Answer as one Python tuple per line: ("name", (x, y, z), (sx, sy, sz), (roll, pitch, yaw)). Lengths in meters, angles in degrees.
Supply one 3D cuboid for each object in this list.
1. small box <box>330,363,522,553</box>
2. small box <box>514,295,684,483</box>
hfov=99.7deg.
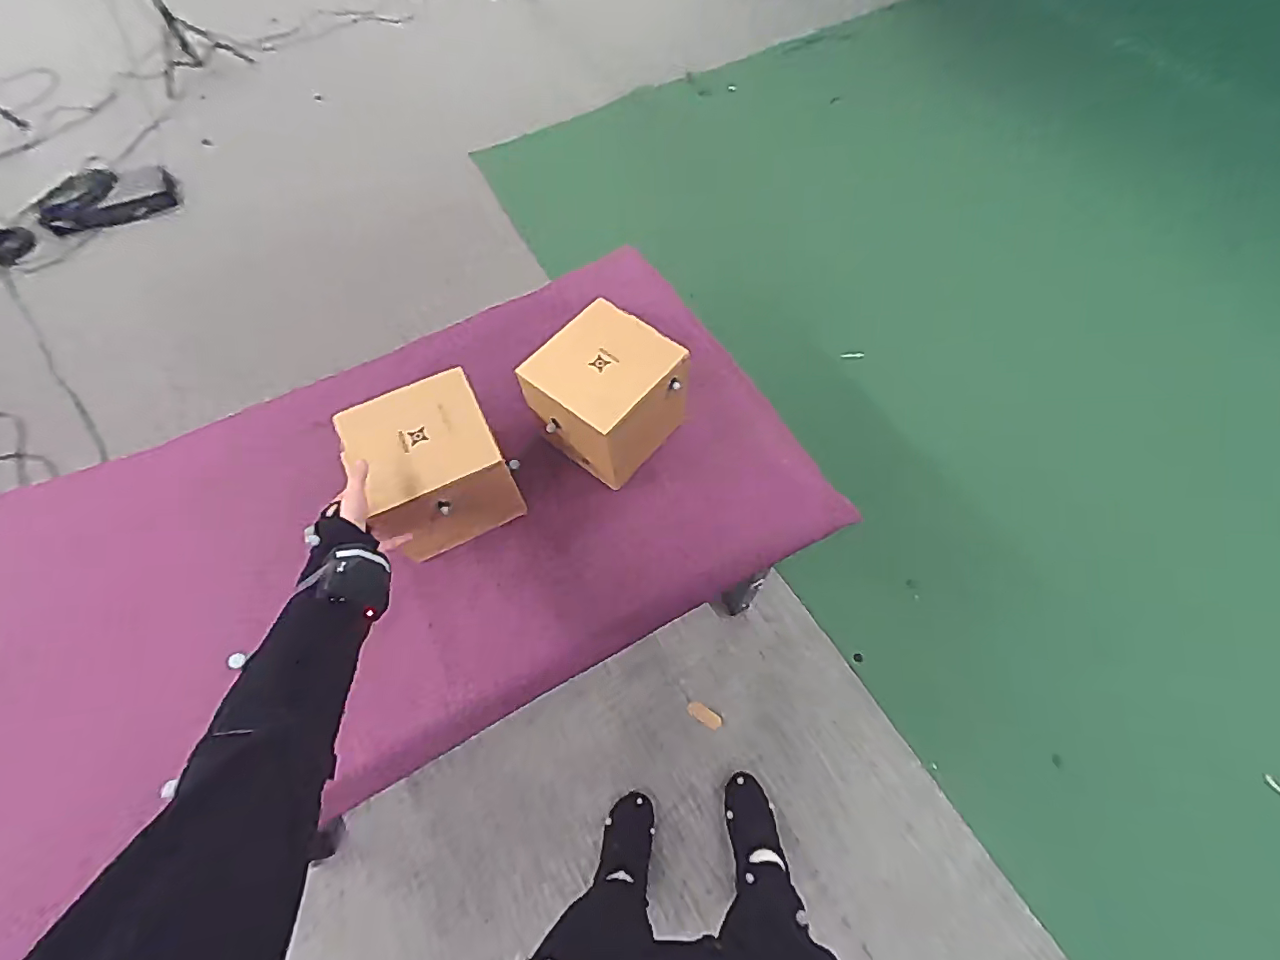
("small box", (-0.284, -0.022, 0.744), (0.179, 0.176, 0.168), (-24, 66, -11))
("small box", (-0.052, -0.127, 0.795), (0.168, 0.176, 0.179), (36, 68, 18))
